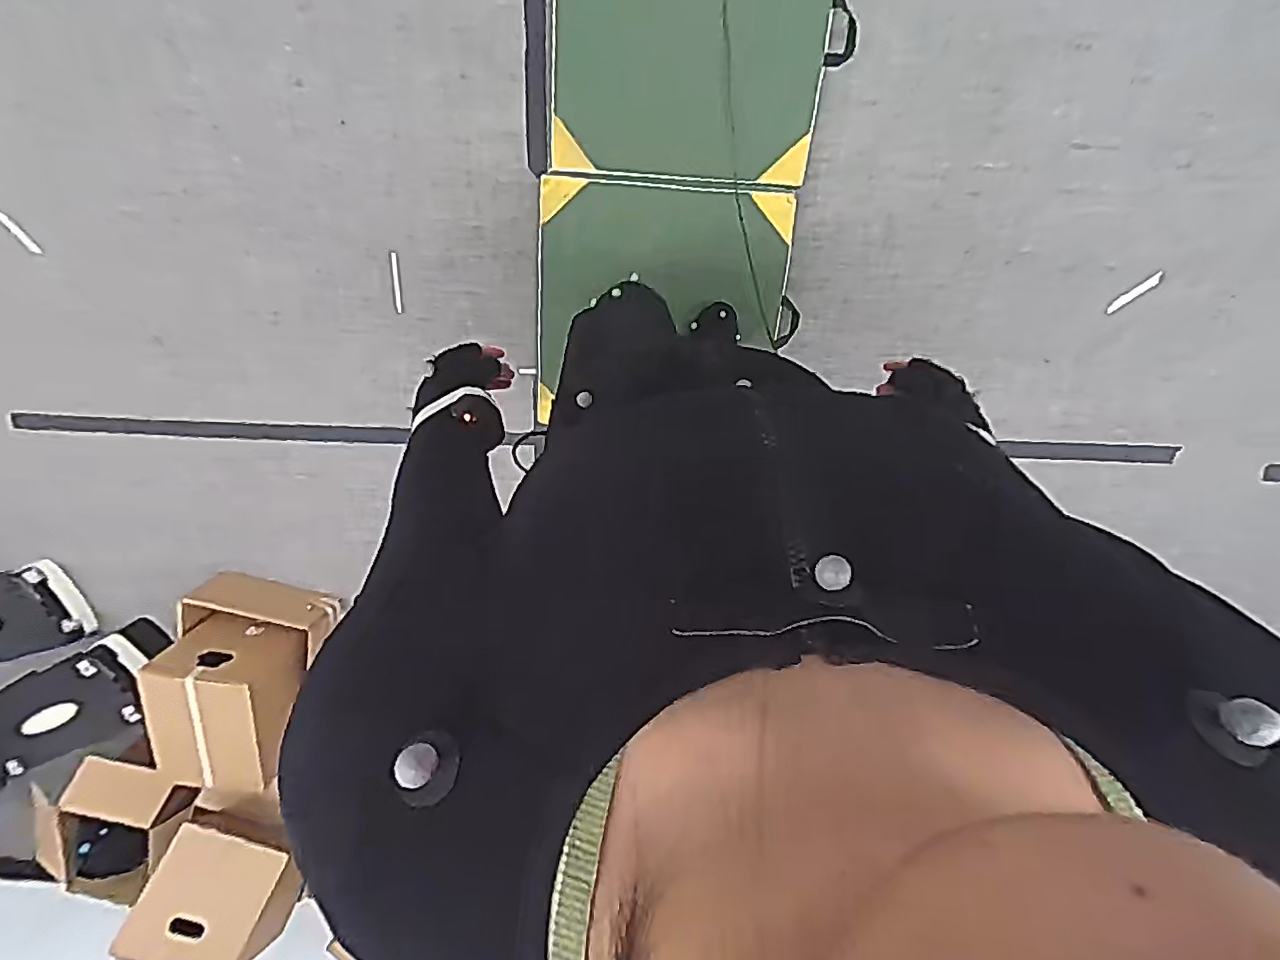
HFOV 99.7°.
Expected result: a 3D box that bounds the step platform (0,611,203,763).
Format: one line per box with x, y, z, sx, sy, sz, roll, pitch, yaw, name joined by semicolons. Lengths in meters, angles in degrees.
-1.887;0.711;1.846;0.684;0.204;0.286;-25;107;10;step platform
